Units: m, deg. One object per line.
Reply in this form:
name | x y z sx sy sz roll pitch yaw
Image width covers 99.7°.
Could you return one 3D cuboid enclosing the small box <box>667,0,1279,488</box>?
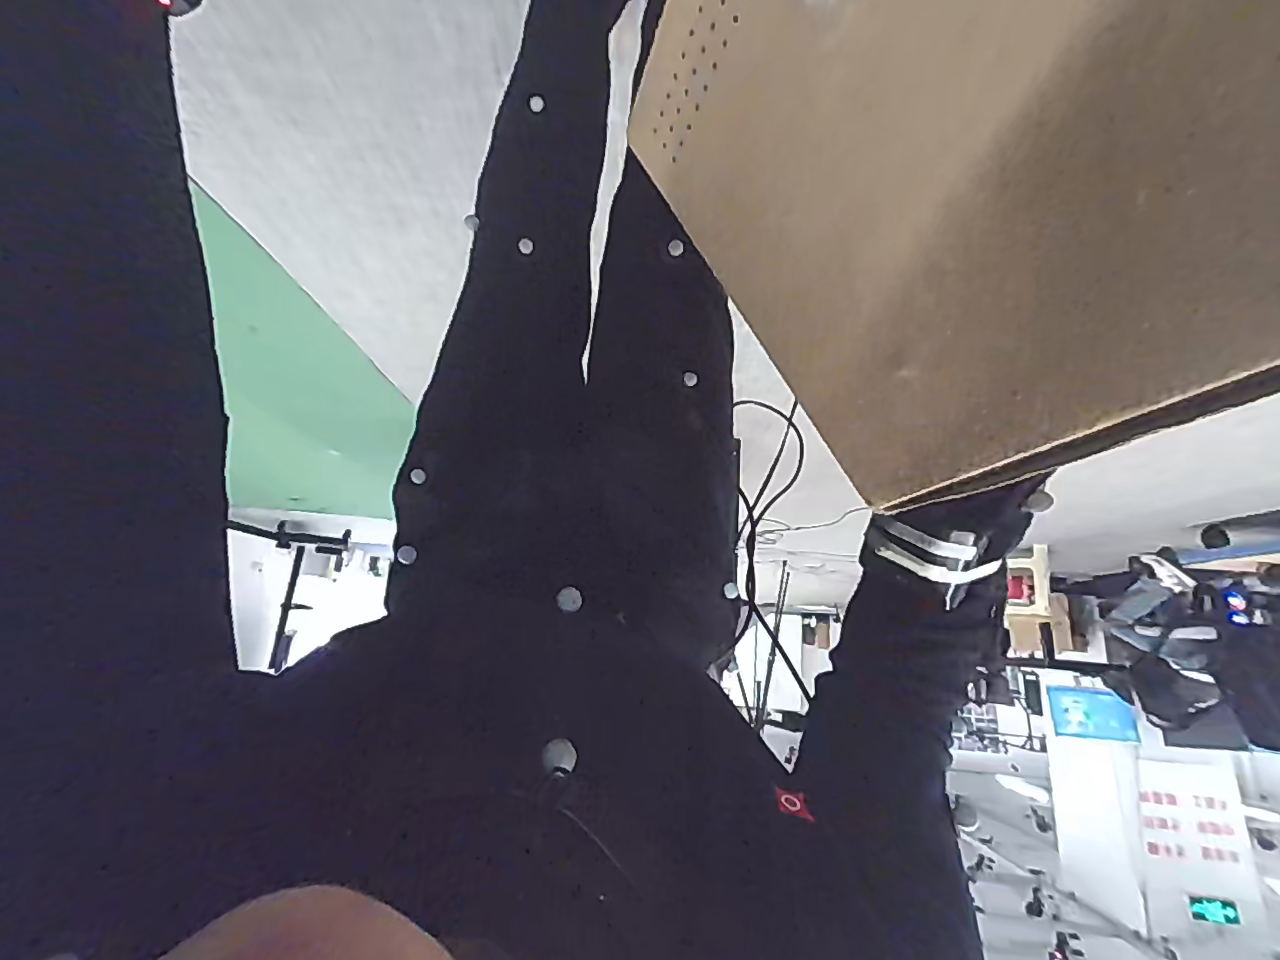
small box | 0.130 -0.124 0.148 0.168 0.176 0.179 -28 173 -24
